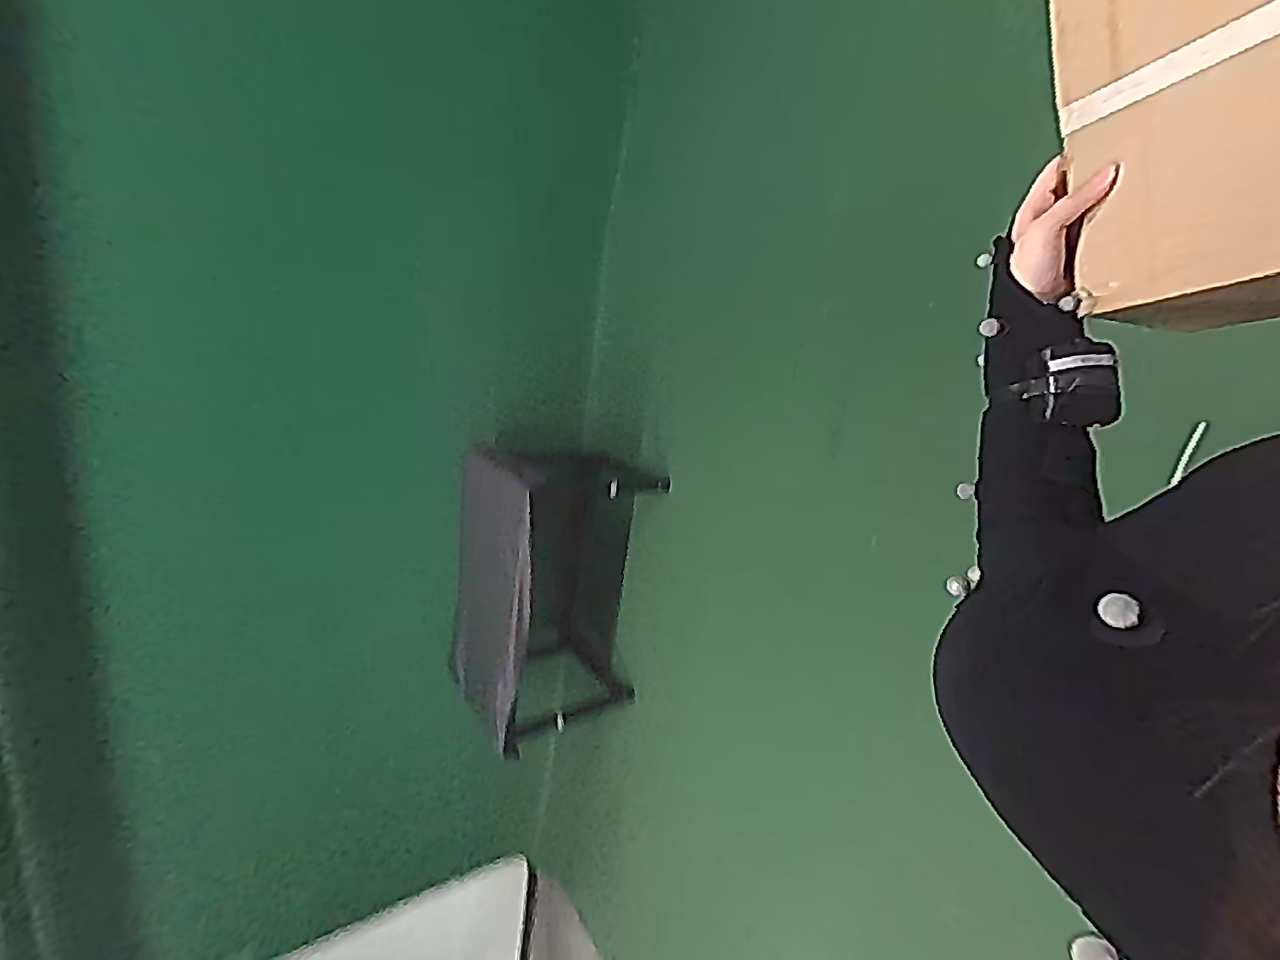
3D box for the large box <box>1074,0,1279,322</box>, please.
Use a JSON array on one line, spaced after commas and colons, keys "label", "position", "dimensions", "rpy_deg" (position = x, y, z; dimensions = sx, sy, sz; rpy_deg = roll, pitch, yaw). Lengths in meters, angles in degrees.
[{"label": "large box", "position": [0.599, -0.315, 0.359], "dimensions": [0.408, 0.320, 0.320], "rpy_deg": [-2, 93, 57]}]
